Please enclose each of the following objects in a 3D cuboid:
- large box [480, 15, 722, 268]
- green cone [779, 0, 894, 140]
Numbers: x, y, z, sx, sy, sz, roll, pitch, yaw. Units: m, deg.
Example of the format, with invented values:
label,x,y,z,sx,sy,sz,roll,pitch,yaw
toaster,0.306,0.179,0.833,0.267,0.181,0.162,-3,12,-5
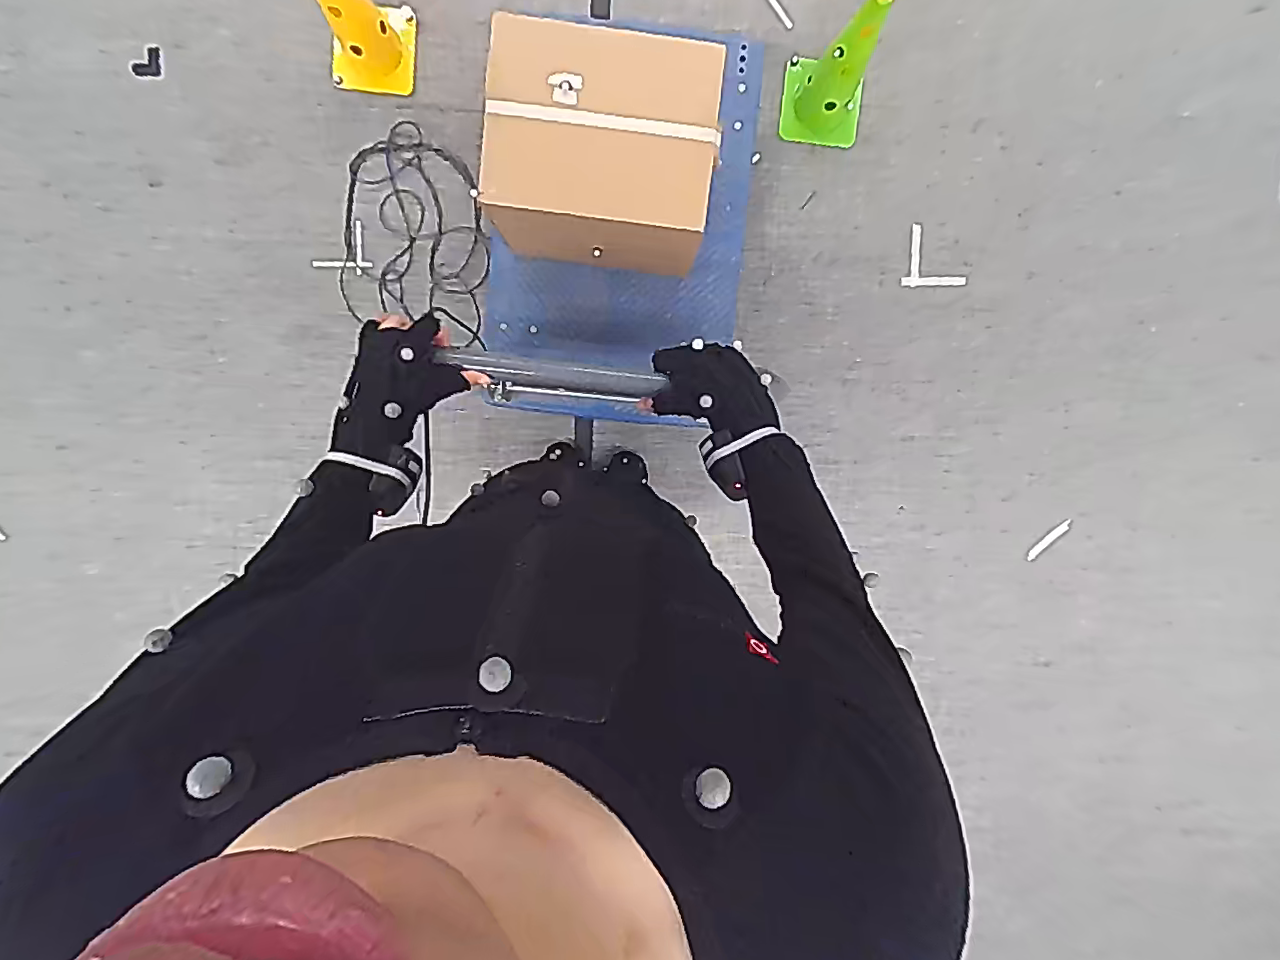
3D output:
label,x,y,z,sx,sy,sz,roll,pitch,yaw
large box,-0.069,-0.638,1.086,0.408,0.320,0.320,7,96,-1
green cone,0.468,-0.963,1.208,0.202,0.368,0.200,6,96,-3
